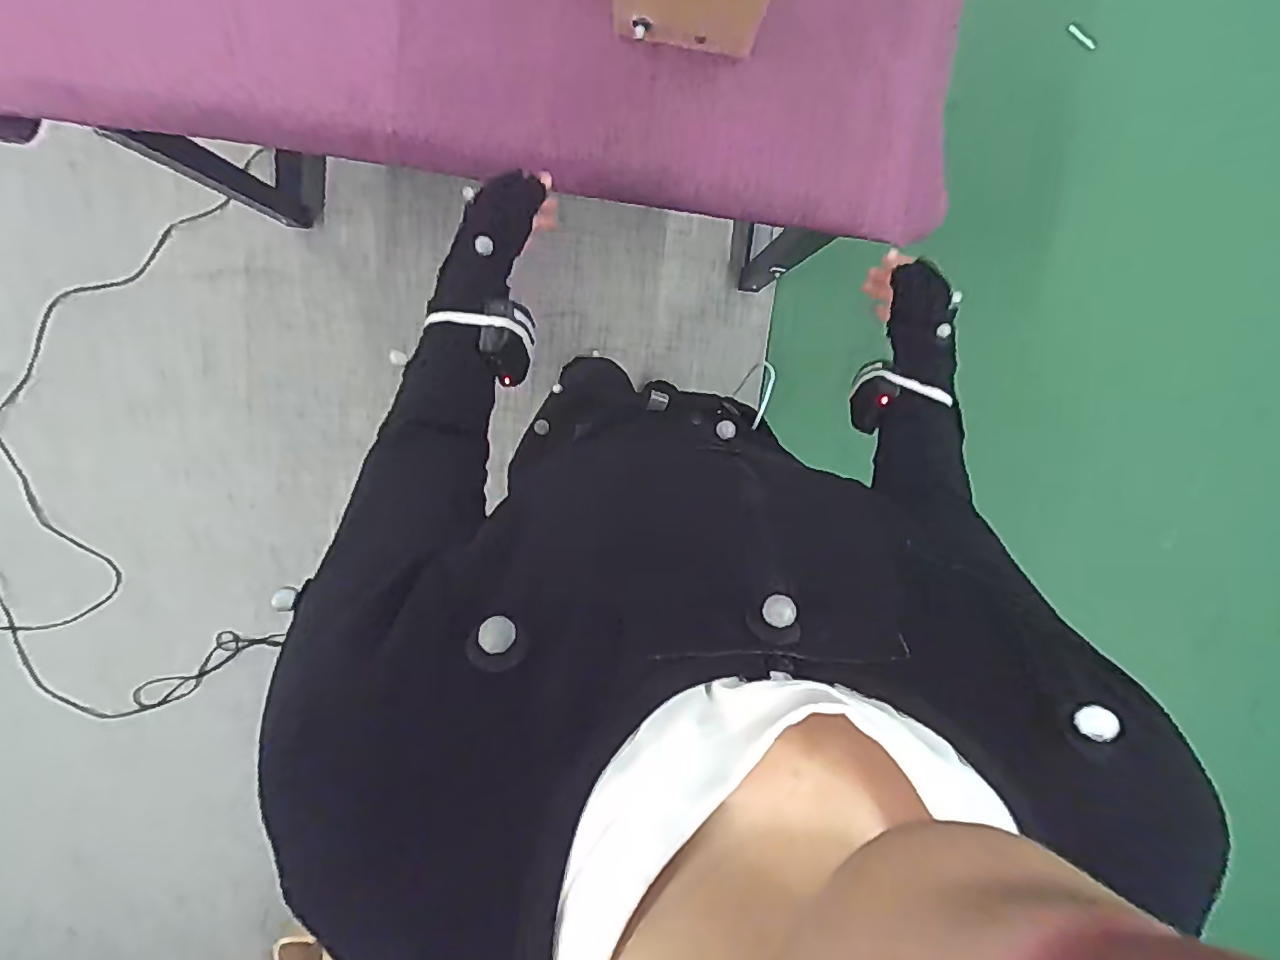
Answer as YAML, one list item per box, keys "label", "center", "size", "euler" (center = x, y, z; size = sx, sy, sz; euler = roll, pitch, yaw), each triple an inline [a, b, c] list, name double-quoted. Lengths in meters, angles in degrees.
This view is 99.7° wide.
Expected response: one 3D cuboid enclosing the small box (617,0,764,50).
- label: "small box"
  center: [0.066, -0.592, 0.551]
  size: [0.168, 0.176, 0.179]
  euler: [10, 99, -6]
